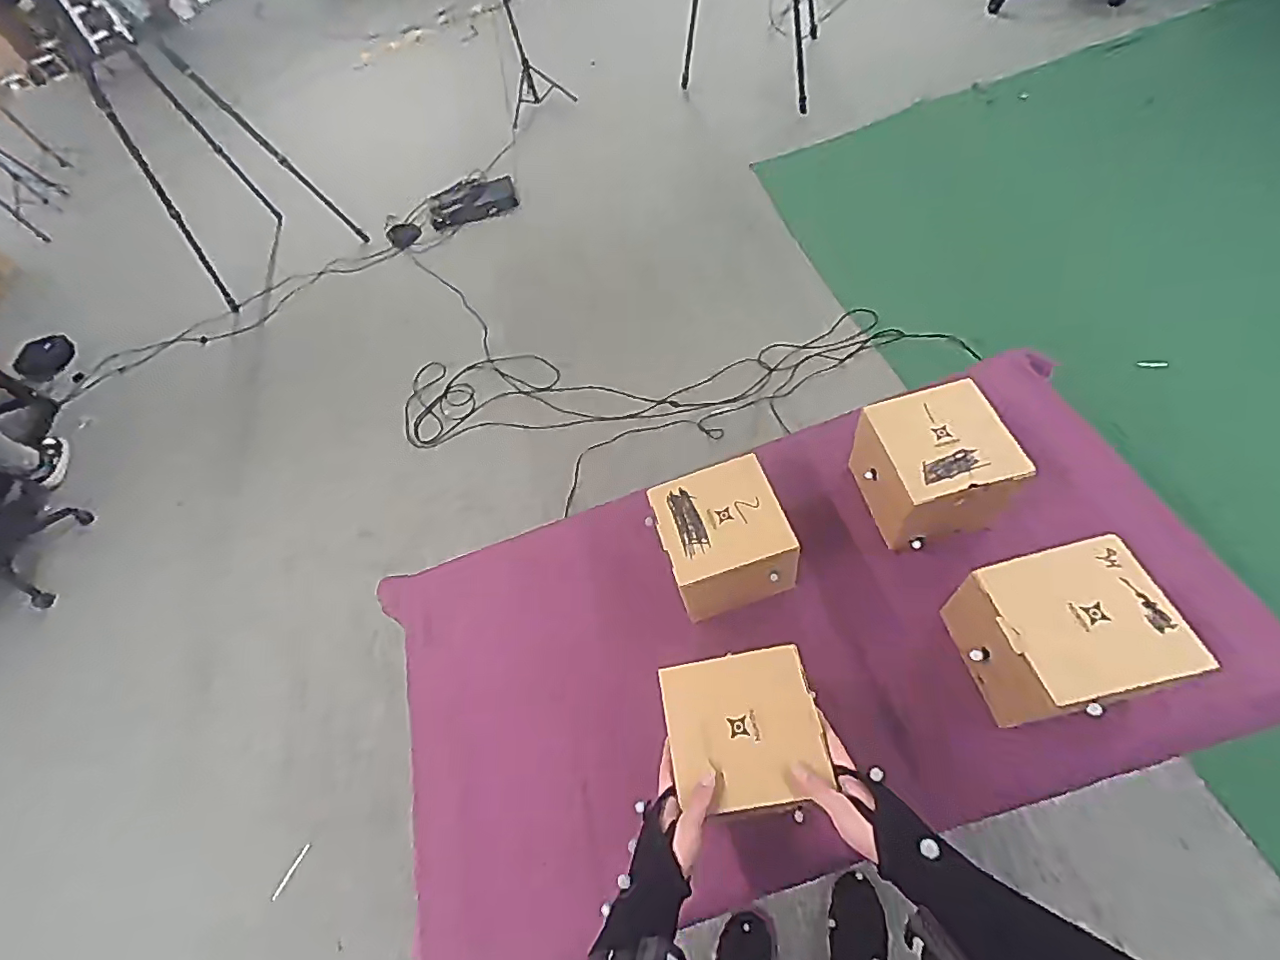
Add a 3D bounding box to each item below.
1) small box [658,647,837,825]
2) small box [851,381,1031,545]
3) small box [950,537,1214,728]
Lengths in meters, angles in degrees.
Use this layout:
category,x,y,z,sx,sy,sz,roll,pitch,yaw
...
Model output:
category,x,y,z,sx,sy,sz,roll,pitch,yaw
small box,0.129,0.328,0.683,0.179,0.176,0.168,-12,54,5
small box,0.440,-0.015,0.827,0.168,0.176,0.179,-14,57,4
small box,0.519,0.198,0.677,0.179,0.176,0.168,-16,56,4
